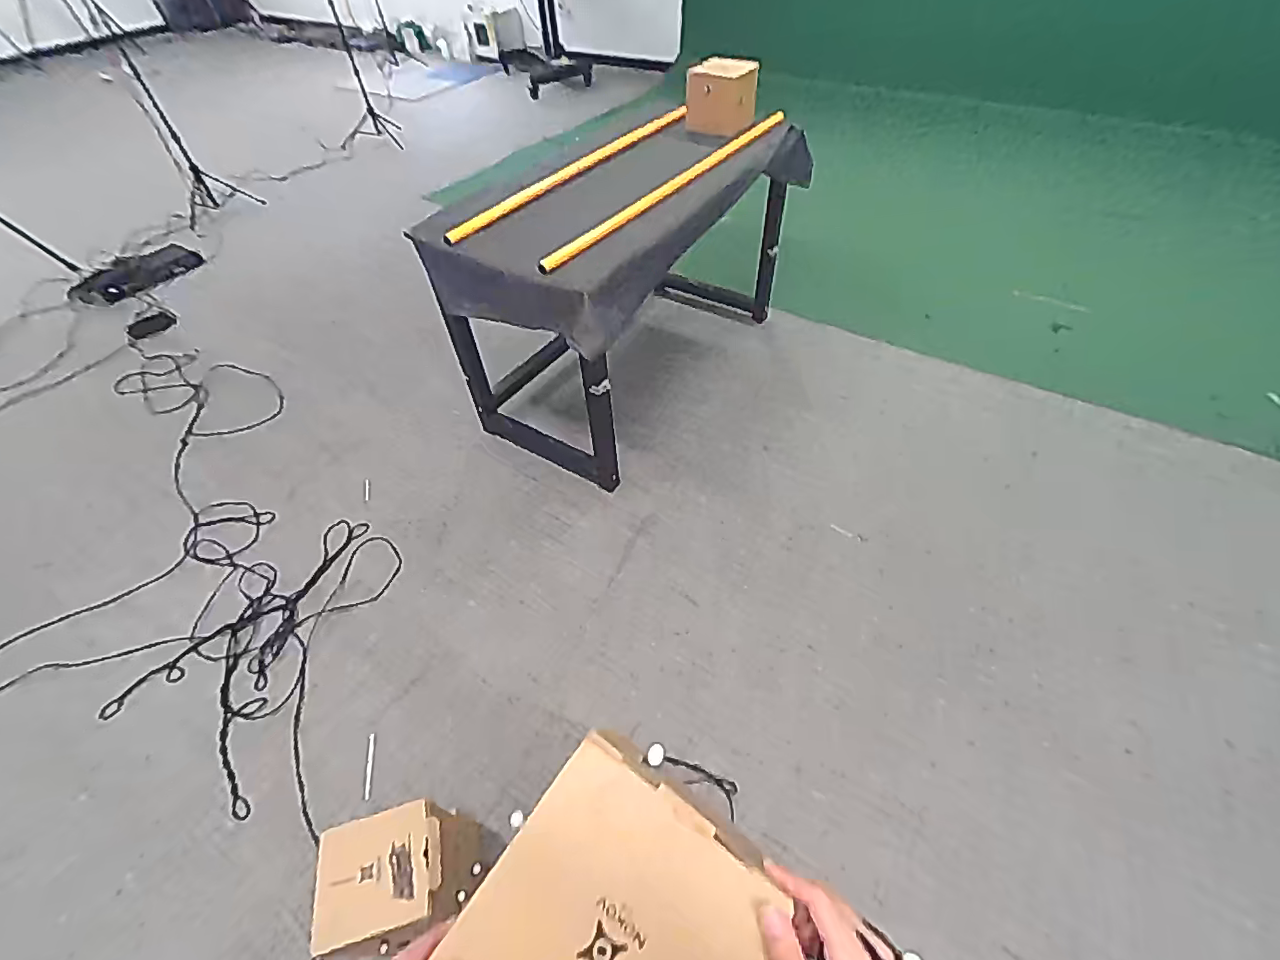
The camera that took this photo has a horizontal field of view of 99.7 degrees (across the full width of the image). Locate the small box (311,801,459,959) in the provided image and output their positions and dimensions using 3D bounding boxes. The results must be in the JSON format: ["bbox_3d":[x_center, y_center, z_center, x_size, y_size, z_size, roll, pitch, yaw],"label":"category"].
[{"bbox_3d":[-0.411,0.667,0.905,0.179,0.176,0.168,-14,49,-8],"label":"small box"}]

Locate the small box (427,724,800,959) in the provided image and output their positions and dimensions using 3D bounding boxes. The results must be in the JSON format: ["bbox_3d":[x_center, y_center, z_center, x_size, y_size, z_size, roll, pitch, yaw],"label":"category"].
[{"bbox_3d":[-0.011,0.306,0.397,0.168,0.176,0.179,32,72,18],"label":"small box"}]

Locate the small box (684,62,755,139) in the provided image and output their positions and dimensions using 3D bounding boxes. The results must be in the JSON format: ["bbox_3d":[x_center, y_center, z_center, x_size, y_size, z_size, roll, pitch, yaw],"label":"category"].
[{"bbox_3d":[0.262,-1.261,1.800,0.179,0.176,0.168,26,56,24],"label":"small box"}]

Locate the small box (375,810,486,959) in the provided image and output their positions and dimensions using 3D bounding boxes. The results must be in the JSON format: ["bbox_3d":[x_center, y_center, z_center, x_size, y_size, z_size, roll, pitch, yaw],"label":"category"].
[{"bbox_3d":[-0.395,0.770,1.033,0.168,0.176,0.179,-18,50,-12],"label":"small box"}]
